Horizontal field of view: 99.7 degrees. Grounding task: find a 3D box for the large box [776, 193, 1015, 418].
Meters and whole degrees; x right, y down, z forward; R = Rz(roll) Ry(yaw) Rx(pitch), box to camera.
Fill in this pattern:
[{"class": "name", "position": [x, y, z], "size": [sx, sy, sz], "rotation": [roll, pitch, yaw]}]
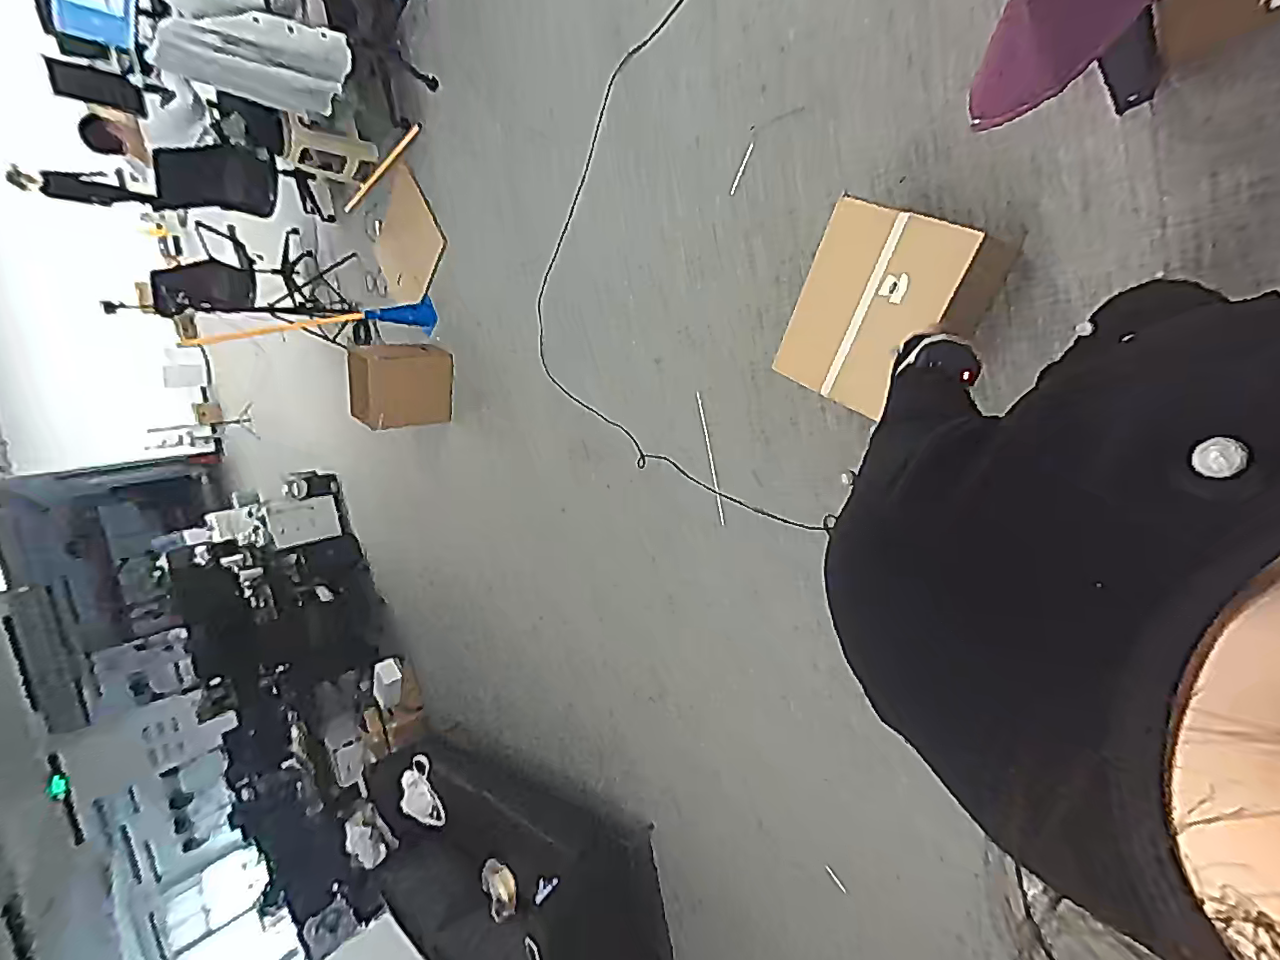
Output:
[{"class": "large box", "position": [0.590, -0.403, 1.280], "size": [0.320, 0.320, 0.408], "rotation": [37, 125, 31]}]
